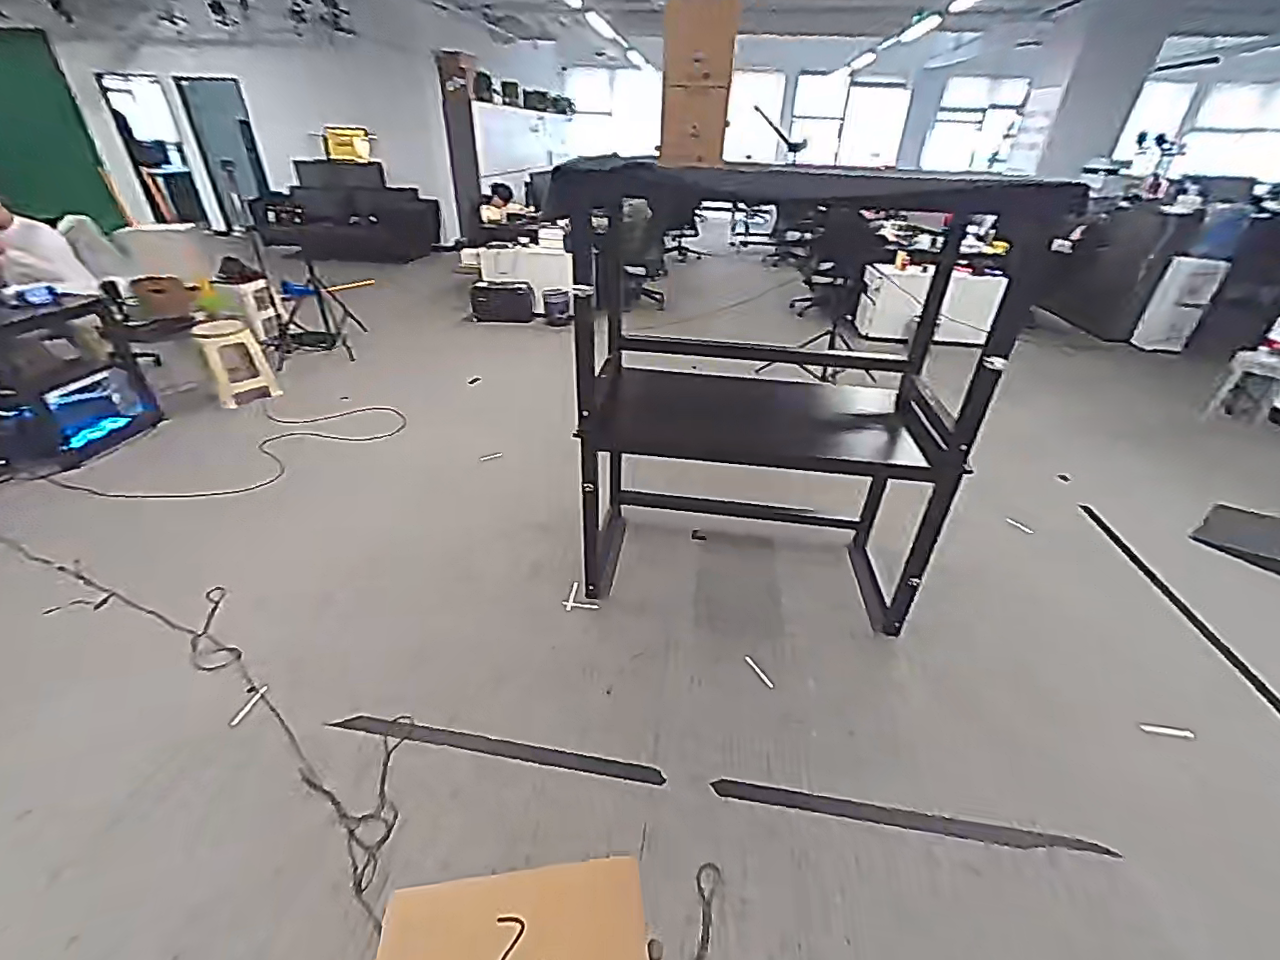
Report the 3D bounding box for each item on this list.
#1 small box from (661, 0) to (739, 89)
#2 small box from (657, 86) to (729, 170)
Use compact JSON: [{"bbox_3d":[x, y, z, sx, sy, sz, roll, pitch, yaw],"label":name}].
[{"bbox_3d":[0.139,-1.032,1.291,0.168,0.176,0.179,3,31,3],"label":"small box"},{"bbox_3d":[0.131,-0.889,1.374,0.168,0.176,0.179,4,31,2],"label":"small box"}]
